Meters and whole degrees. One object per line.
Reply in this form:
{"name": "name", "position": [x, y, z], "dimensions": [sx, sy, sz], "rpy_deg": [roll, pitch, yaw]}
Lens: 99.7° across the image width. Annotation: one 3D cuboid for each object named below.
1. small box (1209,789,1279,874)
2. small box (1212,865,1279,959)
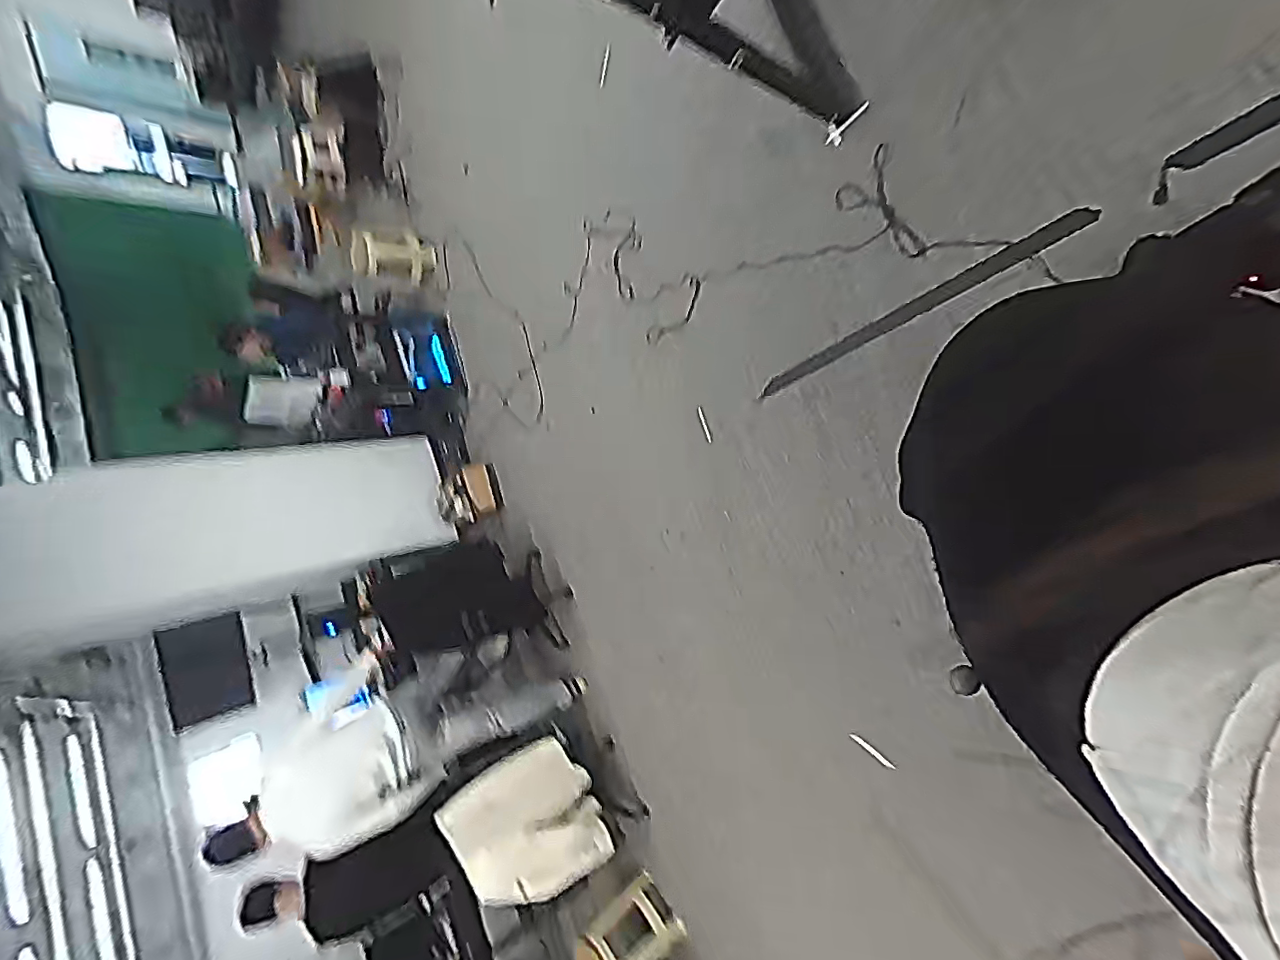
{"name": "small box", "position": [0.868, 0.524, 0.676], "dimensions": [0.168, 0.176, 0.179], "rpy_deg": [-31, 77, 45]}
{"name": "small box", "position": [0.748, 0.549, 0.566], "dimensions": [0.168, 0.176, 0.179], "rpy_deg": [-30, 77, 46]}
